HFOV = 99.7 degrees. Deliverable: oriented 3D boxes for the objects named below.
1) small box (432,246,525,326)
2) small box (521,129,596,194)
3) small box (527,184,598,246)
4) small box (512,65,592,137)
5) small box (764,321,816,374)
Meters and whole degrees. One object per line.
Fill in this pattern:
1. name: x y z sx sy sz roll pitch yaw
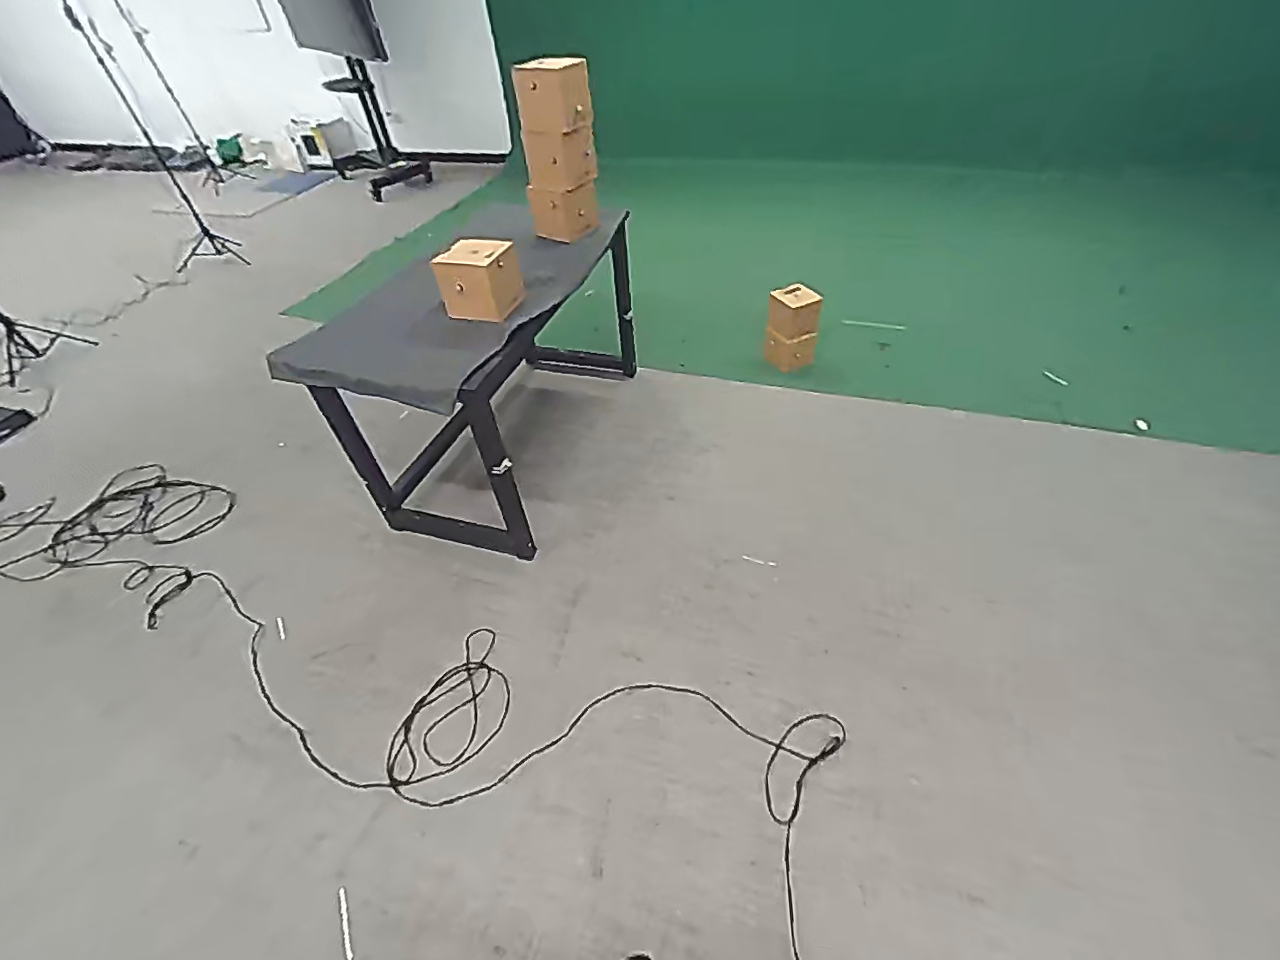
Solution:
1. small box: -0.457 -0.558 1.559 0.179 0.176 0.168 9 46 16
2. small box: -0.270 -1.086 1.836 0.179 0.176 0.168 21 49 27
3. small box: -0.272 -0.959 1.939 0.179 0.176 0.168 25 52 30
4. small box: -0.275 -1.207 1.724 0.179 0.176 0.168 17 49 22
5. small box: 0.704 -0.618 2.551 0.168 0.176 0.179 -21 47 -15
